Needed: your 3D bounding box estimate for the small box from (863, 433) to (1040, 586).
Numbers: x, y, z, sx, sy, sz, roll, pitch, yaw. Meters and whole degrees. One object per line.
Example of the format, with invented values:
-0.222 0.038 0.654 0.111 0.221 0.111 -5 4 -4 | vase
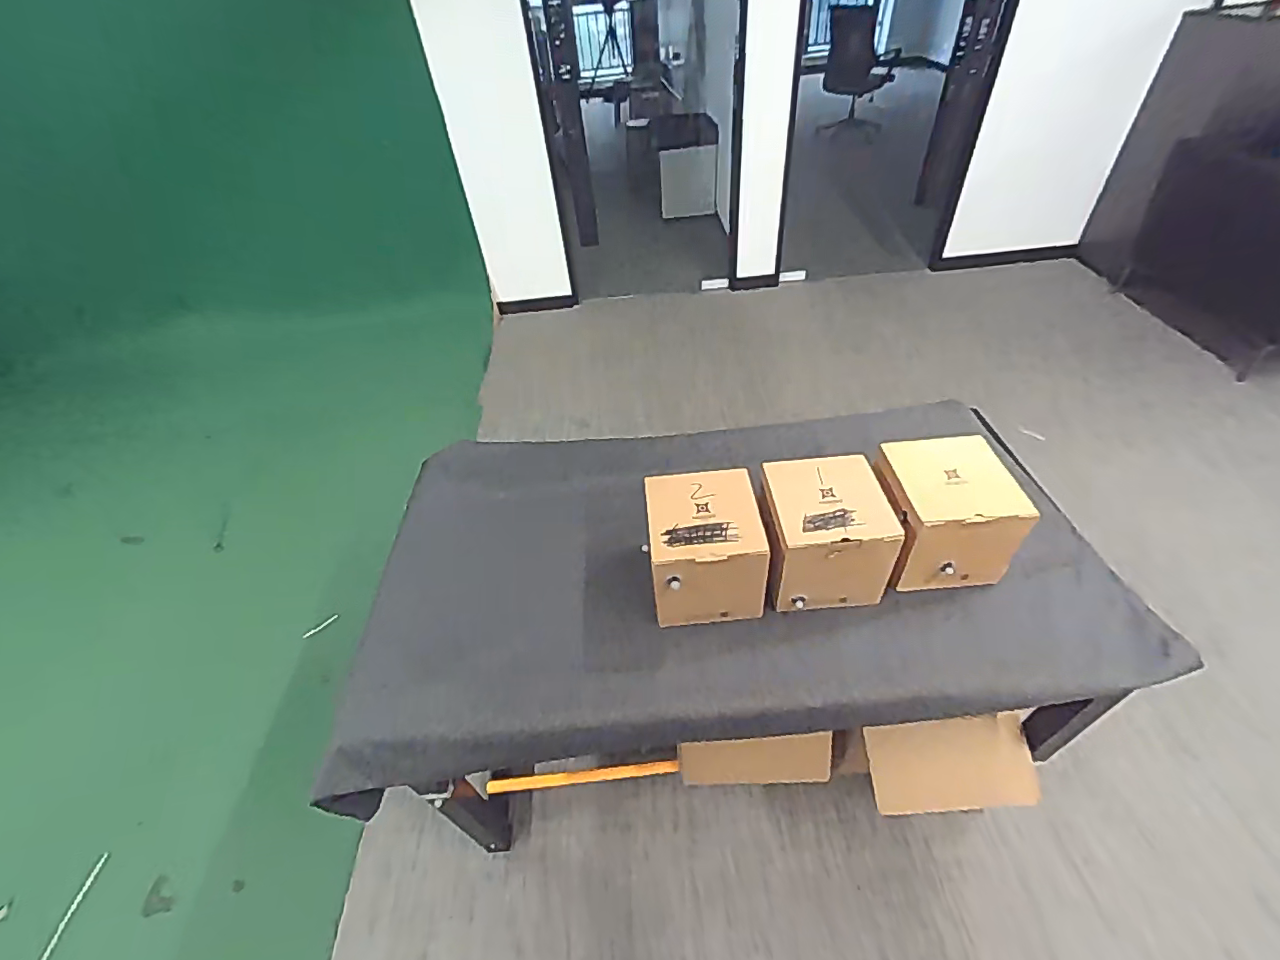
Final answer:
0.480 0.048 0.871 0.168 0.176 0.179 -5 45 2 | small box
